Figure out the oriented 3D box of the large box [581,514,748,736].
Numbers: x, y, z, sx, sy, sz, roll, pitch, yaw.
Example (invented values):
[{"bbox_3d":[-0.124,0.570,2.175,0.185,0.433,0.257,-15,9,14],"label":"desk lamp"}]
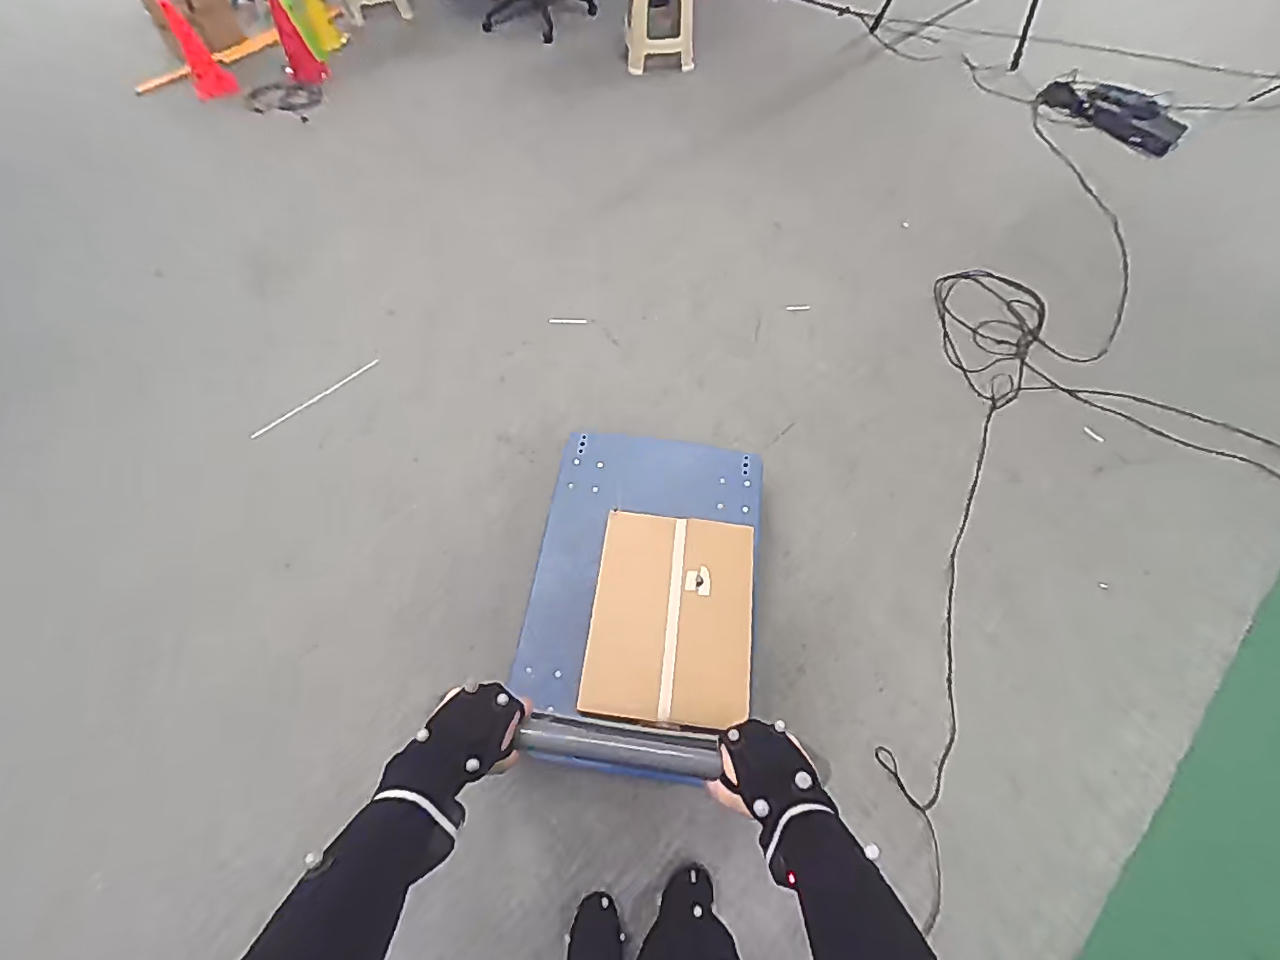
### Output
[{"bbox_3d":[0.060,0.335,1.217,0.320,0.320,0.408,7,62,2],"label":"large box"}]
